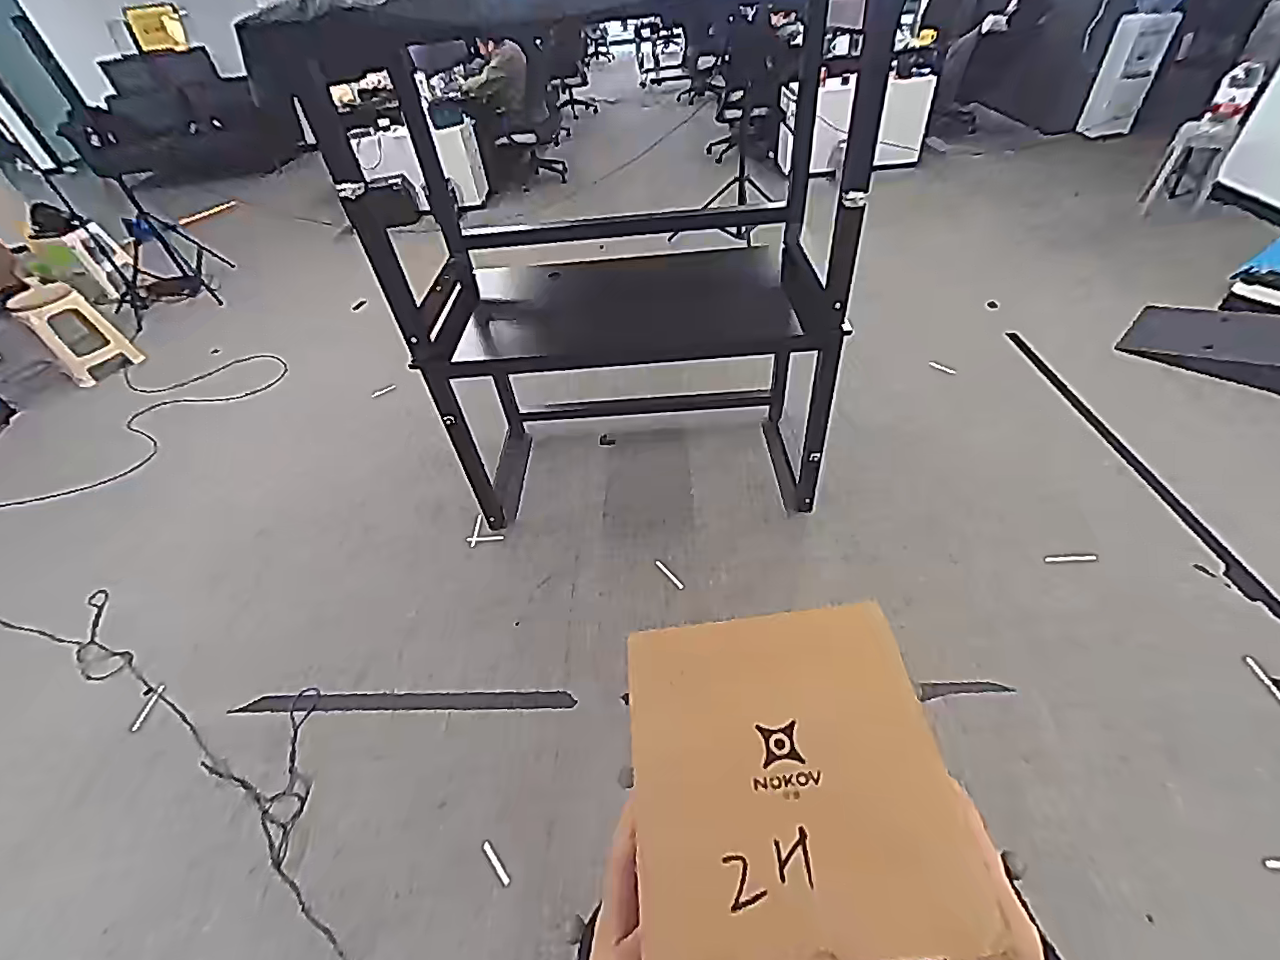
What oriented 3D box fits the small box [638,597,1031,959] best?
[{"bbox_3d":[0.094,0.202,0.349,0.168,0.176,0.179,-9,47,4],"label":"small box"}]
